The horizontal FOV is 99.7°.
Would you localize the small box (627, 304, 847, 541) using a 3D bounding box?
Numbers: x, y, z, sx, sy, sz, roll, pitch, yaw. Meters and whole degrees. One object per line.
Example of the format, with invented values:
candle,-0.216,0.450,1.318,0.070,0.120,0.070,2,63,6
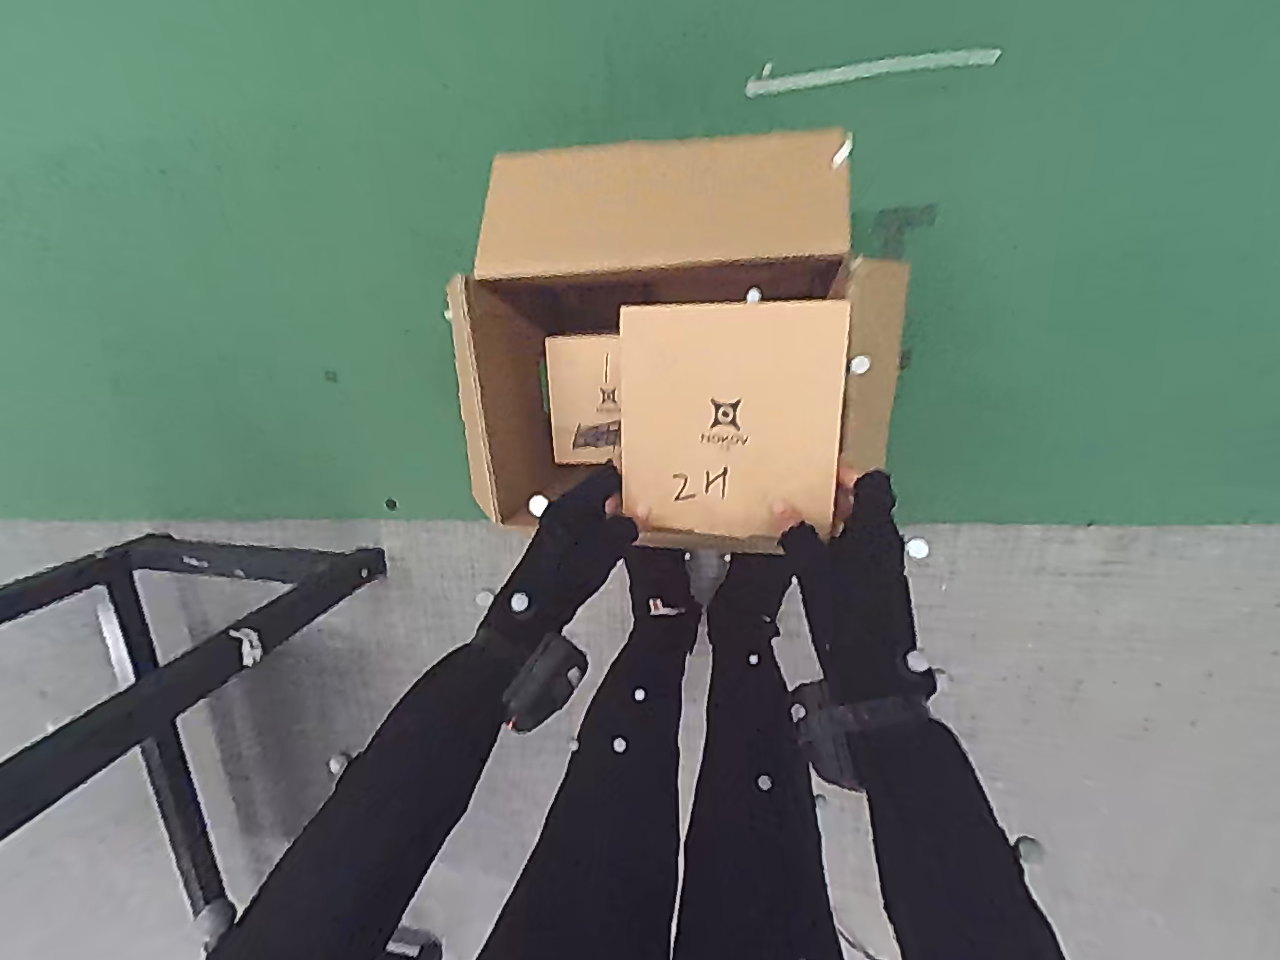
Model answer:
small box,0.093,-0.061,0.493,0.168,0.176,0.179,4,105,20
